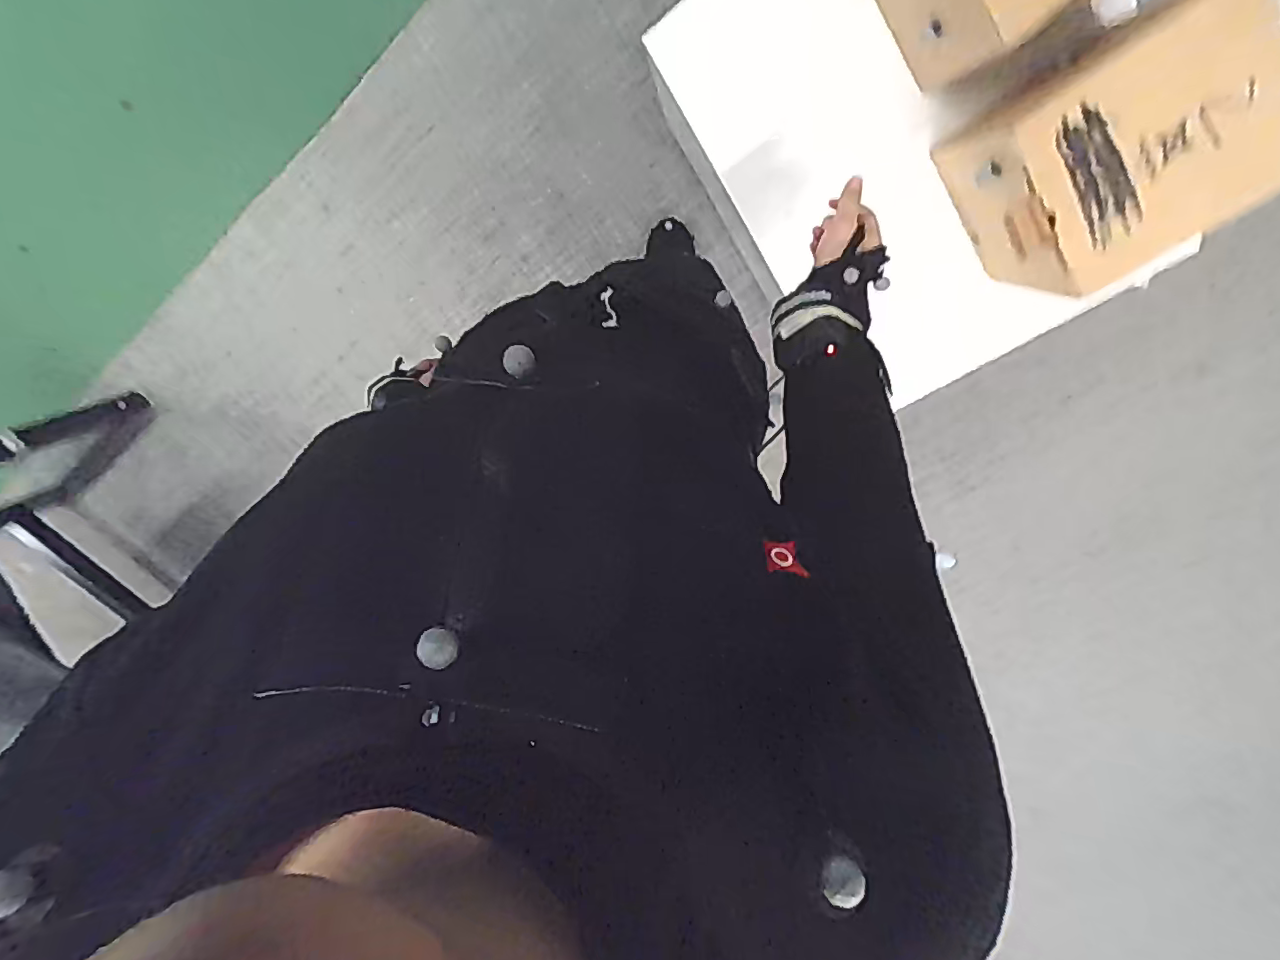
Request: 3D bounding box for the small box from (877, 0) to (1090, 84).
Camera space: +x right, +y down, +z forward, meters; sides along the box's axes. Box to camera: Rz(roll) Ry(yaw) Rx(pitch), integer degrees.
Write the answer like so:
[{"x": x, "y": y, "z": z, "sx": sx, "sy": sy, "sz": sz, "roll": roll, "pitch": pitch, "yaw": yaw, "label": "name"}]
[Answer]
[{"x": 0.296, "y": -0.457, "z": 0.428, "sx": 0.168, "sy": 0.176, "sz": 0.179, "roll": -35, "pitch": 108, "yaw": 18, "label": "small box"}]
